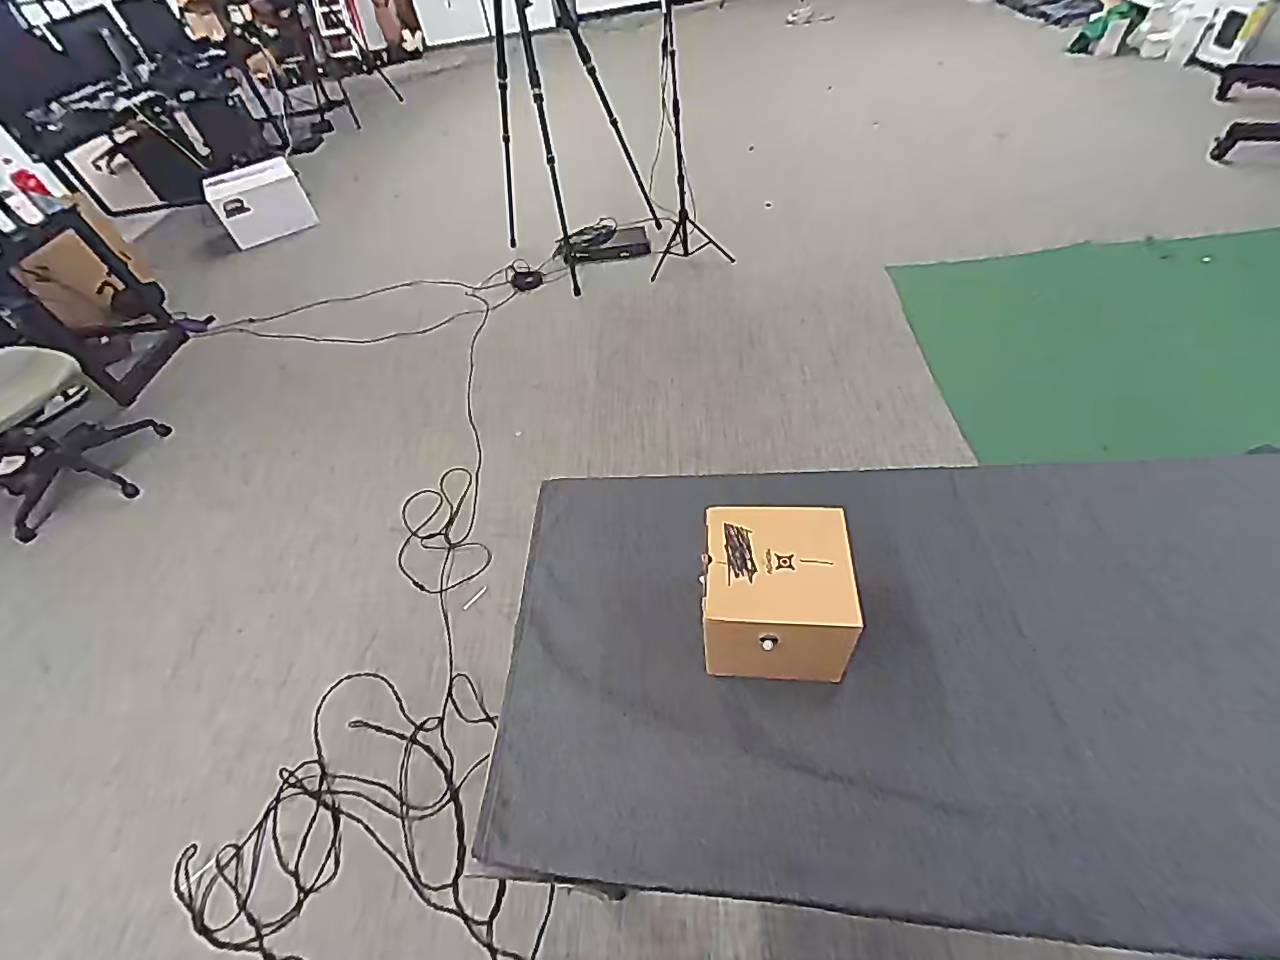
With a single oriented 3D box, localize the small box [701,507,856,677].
[{"bbox_3d":[0.175,0.152,0.727,0.179,0.176,0.168,0,50,9],"label":"small box"}]
